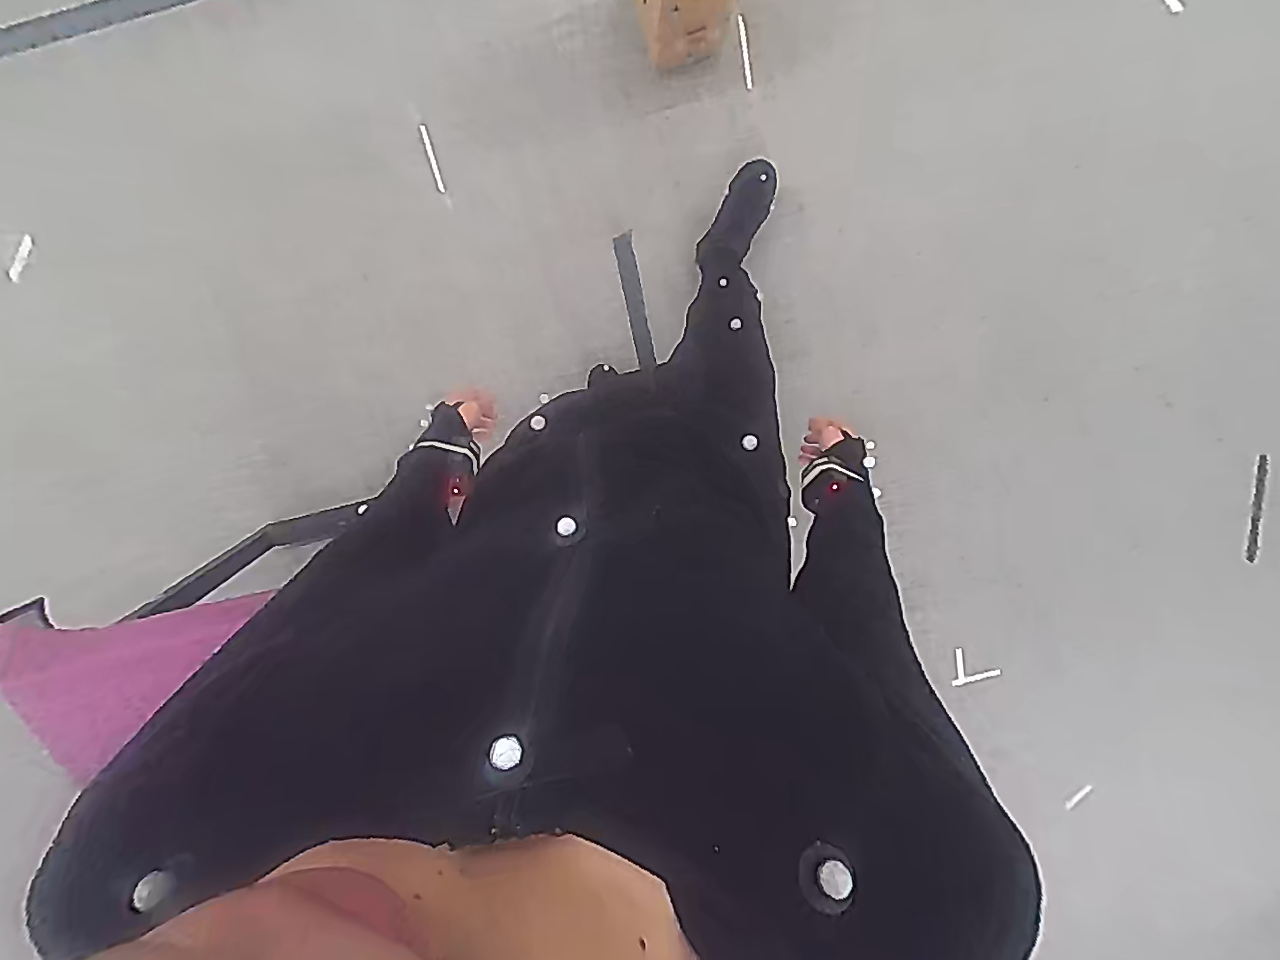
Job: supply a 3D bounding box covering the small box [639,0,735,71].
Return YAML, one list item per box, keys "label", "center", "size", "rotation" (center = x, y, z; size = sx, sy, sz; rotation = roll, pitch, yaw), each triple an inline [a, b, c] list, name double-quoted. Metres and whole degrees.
- label: "small box"
  center: [0.096, -1.052, 1.190]
  size: [0.168, 0.176, 0.179]
  rotation: [-16, 110, 3]
